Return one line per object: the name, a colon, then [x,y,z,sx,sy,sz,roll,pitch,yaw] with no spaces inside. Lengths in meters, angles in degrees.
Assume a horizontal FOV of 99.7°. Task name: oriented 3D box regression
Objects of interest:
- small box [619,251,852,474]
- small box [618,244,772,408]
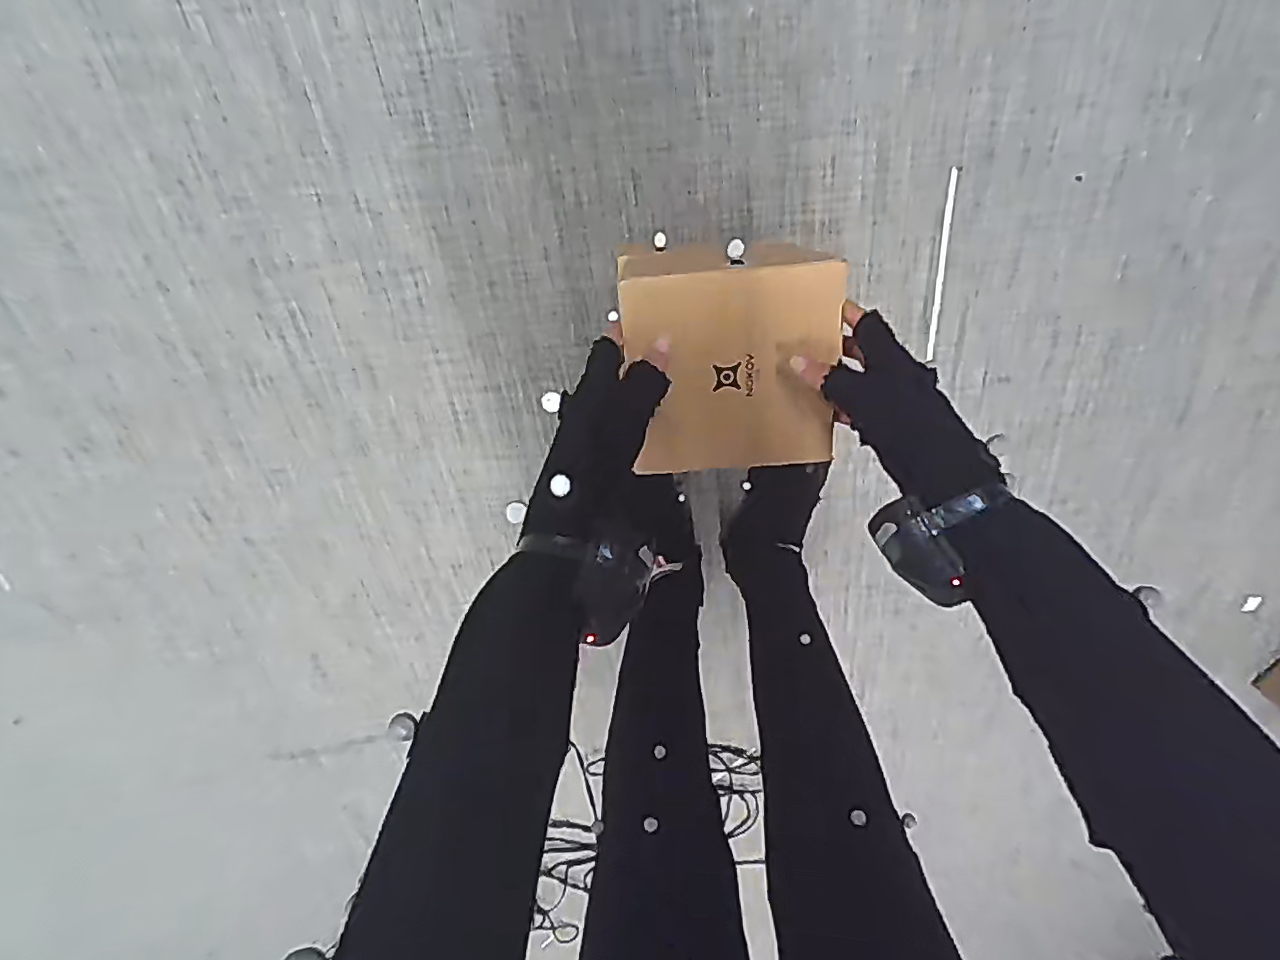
small box: [0.077,-0.118,0.509,0.179,0.176,0.168,-5,116,1]
small box: [0.067,-0.190,0.654,0.179,0.176,0.168,-1,117,1]
